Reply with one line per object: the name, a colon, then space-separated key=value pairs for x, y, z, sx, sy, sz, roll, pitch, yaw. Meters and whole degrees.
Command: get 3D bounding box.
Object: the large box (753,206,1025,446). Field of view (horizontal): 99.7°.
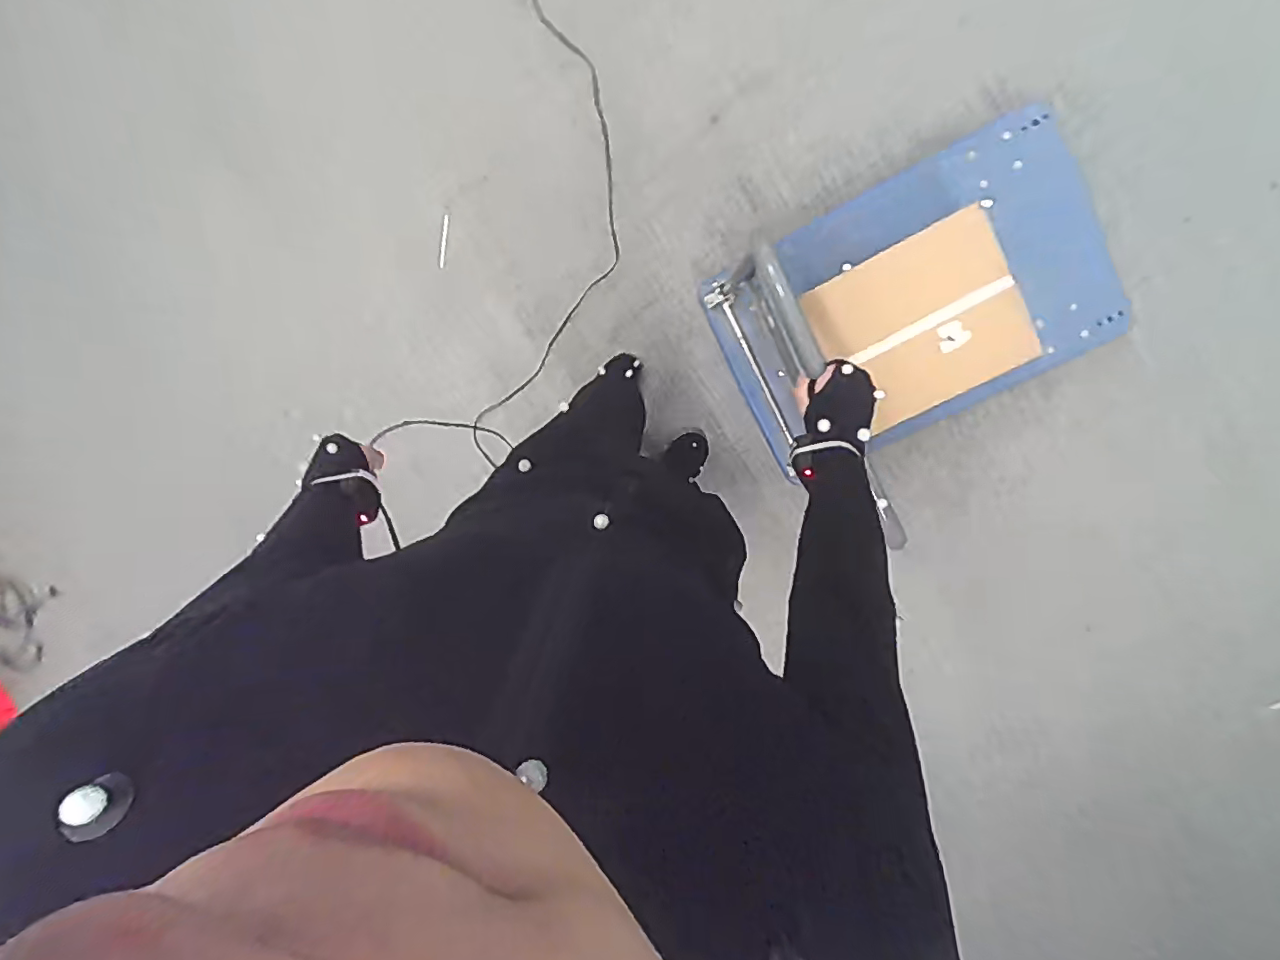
large box: x=0.513 y=-0.314 z=1.200 sx=0.408 sy=0.320 sz=0.320 roll=-27 pitch=98 yaw=9
